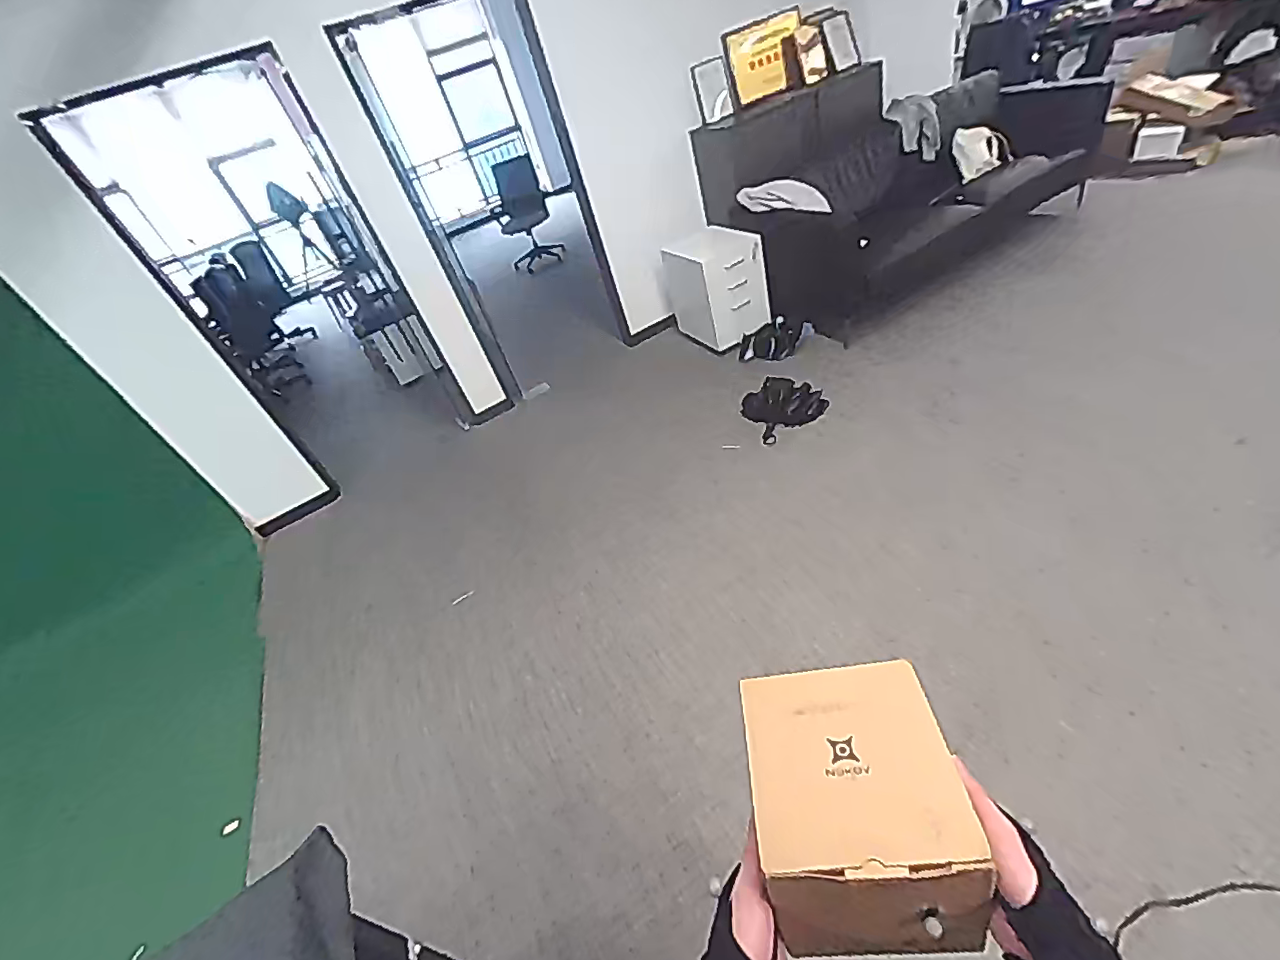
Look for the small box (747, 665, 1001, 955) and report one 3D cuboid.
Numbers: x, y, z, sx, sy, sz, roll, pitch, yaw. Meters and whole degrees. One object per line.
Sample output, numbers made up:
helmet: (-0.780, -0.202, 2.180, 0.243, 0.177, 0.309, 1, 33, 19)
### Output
small box: (0.201, 0.304, 0.499, 0.168, 0.176, 0.179, -11, 30, 10)
